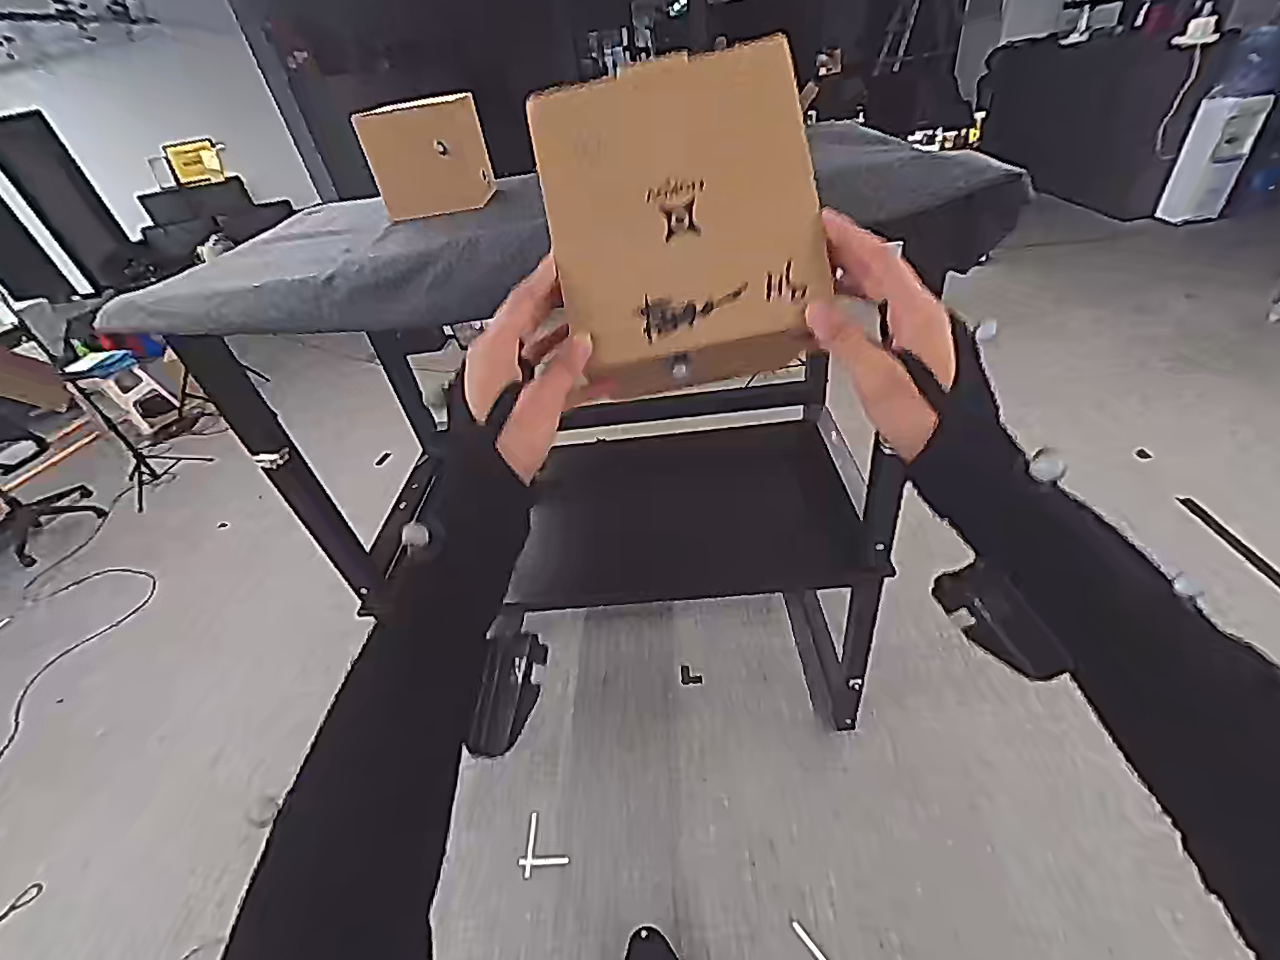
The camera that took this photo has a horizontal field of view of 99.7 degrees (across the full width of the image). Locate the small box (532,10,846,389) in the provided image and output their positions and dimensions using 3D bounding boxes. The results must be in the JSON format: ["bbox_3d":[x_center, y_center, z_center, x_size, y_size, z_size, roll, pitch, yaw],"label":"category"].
[{"bbox_3d":[0.032,-0.179,0.402,0.168,0.179,0.176,-10,0,4],"label":"small box"}]
